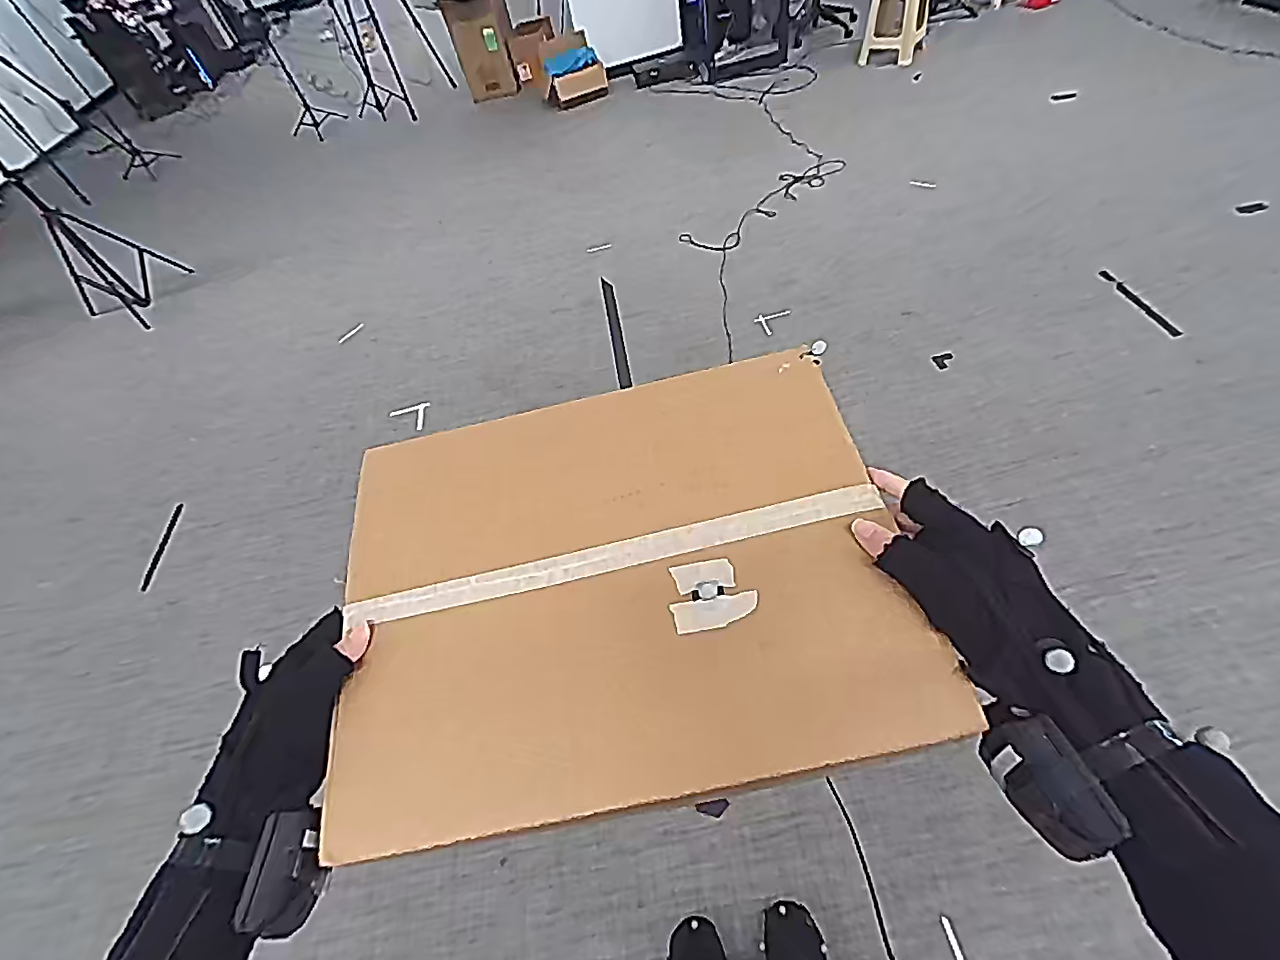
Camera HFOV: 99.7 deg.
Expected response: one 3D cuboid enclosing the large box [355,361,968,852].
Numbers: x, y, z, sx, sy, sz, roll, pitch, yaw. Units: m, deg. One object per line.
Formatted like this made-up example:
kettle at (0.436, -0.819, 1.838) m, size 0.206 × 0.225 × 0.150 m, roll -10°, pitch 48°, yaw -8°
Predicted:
large box at (0.005, 0.139, 0.540) m, size 0.408 × 0.320 × 0.320 m, roll -13°, pitch 59°, yaw 2°
